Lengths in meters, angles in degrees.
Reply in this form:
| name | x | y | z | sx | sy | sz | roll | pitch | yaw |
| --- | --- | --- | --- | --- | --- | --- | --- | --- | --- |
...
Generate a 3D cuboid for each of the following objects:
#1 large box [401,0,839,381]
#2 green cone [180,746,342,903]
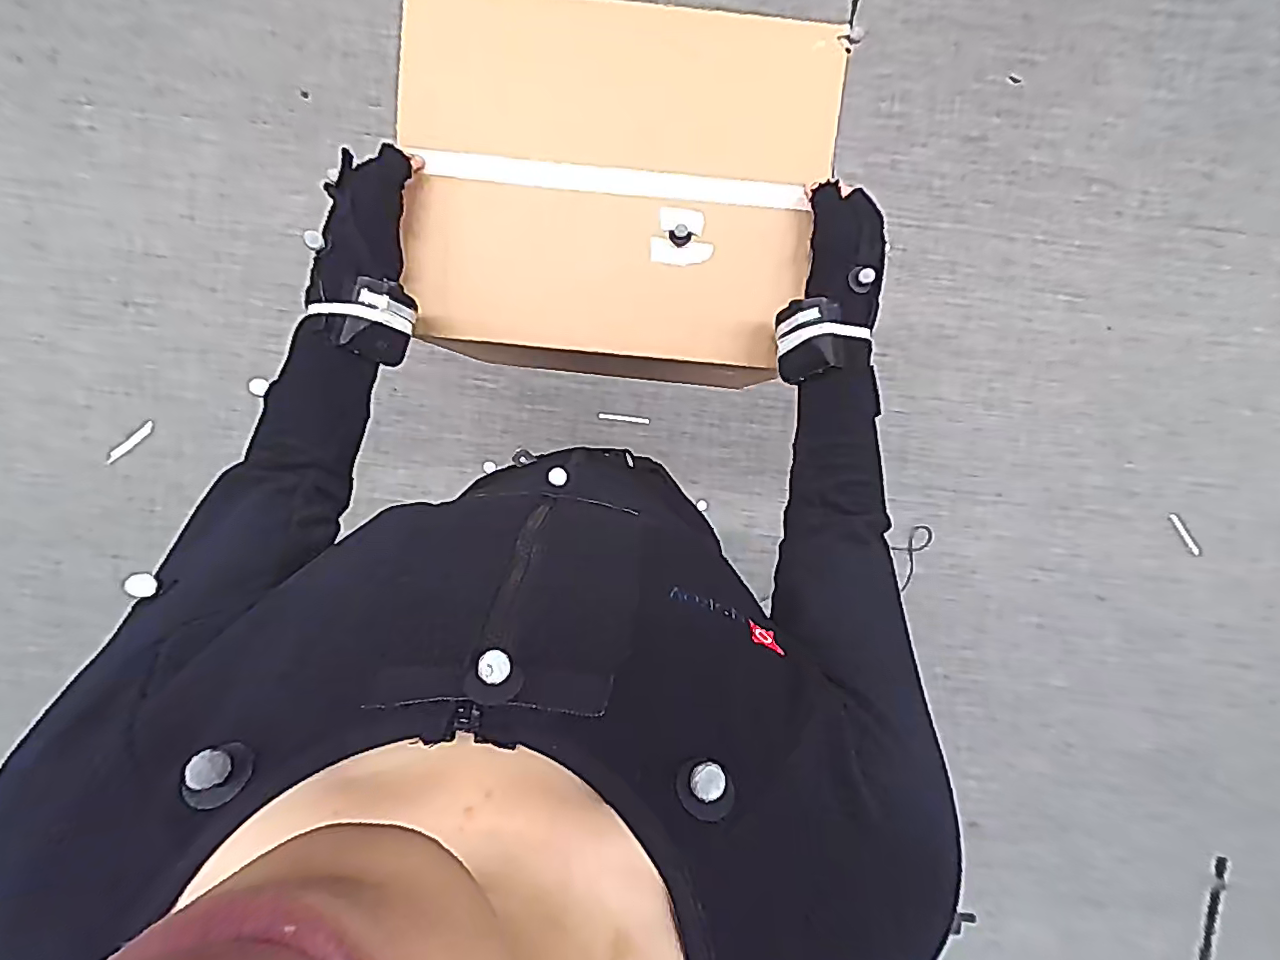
| name | x | y | z | sx | sy | sz | roll | pitch | yaw |
| --- | --- | --- | --- | --- | --- | --- | --- | --- | --- |
| large box | -0.027 | -0.301 | 0.659 | 0.408 | 0.320 | 0.320 | 5 | 97 | -2 |
| green cone | -0.951 | 0.865 | 1.322 | 0.202 | 0.368 | 0.200 | -32 | 92 | 2 |
